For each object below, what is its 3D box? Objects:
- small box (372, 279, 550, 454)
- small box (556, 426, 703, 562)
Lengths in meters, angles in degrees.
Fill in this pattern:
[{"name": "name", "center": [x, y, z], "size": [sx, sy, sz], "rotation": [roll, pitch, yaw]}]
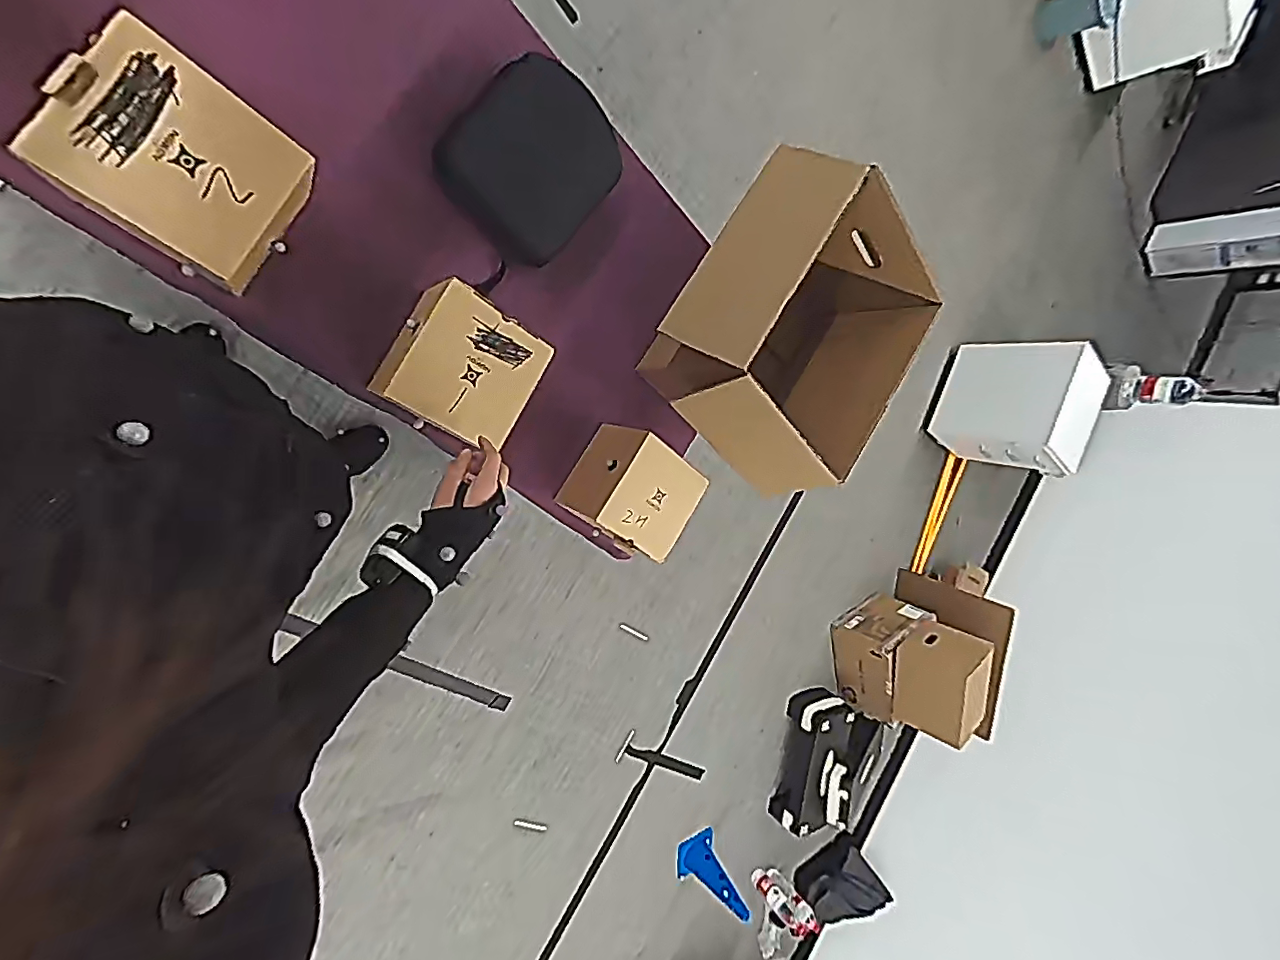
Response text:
[{"name": "small box", "center": [-0.267, -0.161, 0.786], "size": [0.168, 0.176, 0.179], "rotation": [32, 83, -34]}, {"name": "small box", "center": [-0.025, 0.017, 0.984], "size": [0.168, 0.176, 0.179], "rotation": [38, 79, -33]}]
